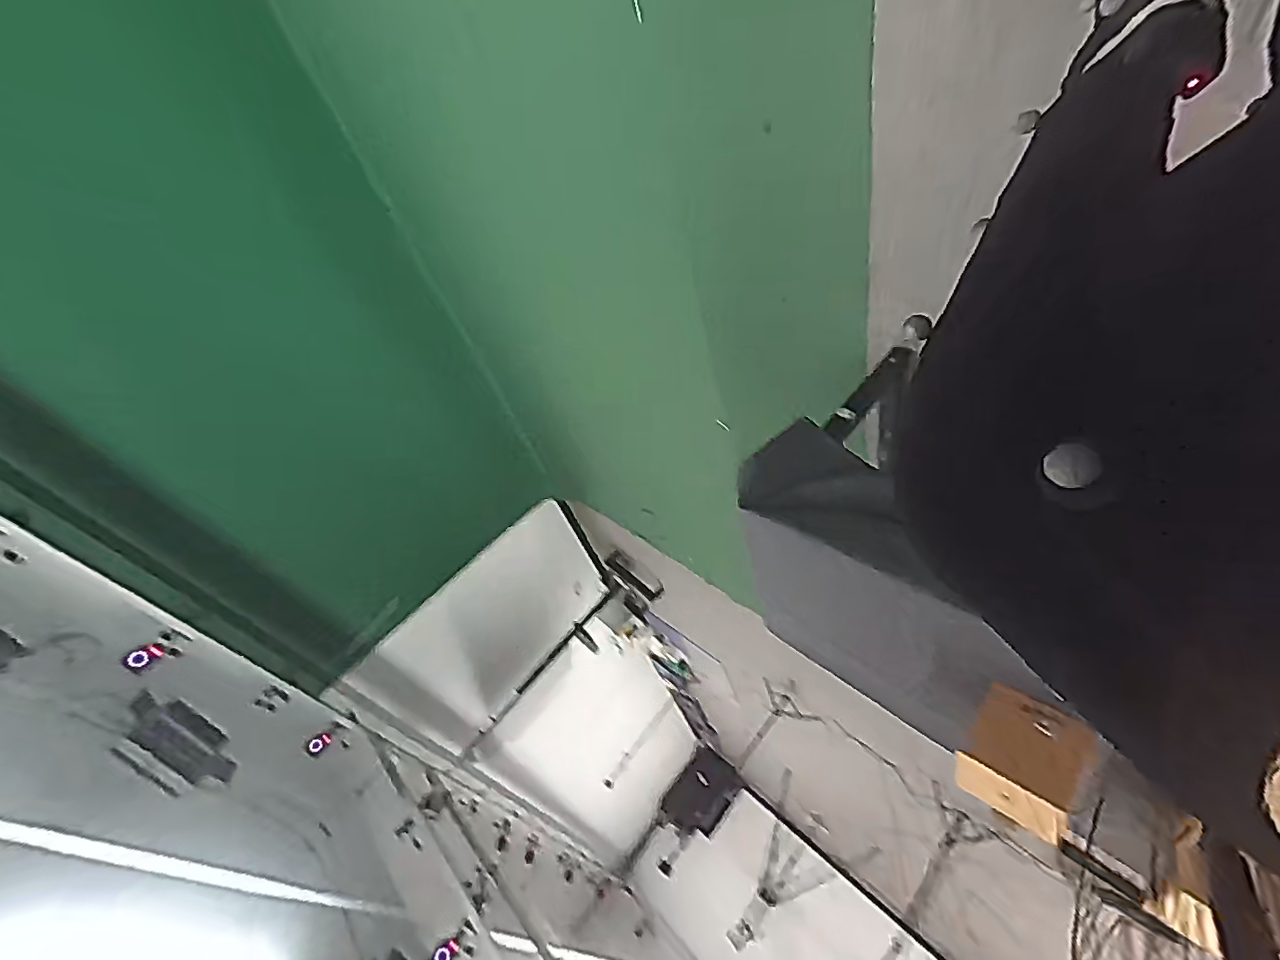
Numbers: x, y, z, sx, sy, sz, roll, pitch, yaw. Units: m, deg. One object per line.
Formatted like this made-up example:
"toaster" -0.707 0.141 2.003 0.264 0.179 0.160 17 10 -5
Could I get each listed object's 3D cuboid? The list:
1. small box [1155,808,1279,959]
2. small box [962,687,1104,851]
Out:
"small box" 0.922 0.629 0.803 0.168 0.176 0.179 26 151 41
"small box" 0.718 0.524 0.995 0.168 0.176 0.179 21 146 46
